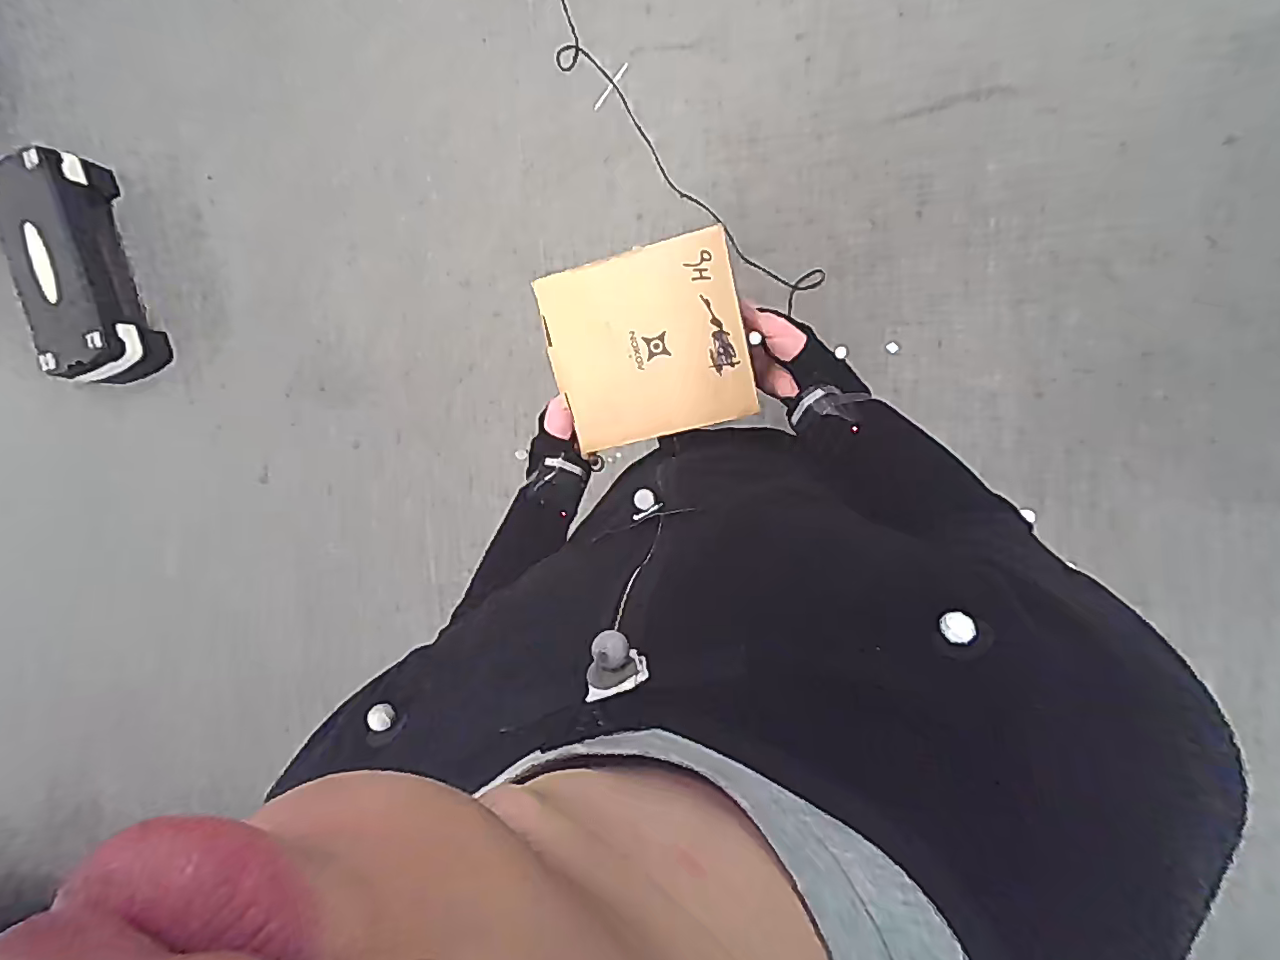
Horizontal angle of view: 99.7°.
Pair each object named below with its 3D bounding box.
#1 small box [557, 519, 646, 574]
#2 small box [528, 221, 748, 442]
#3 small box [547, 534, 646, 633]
[{"bbox_3d":[-0.101,0.237,1.543,0.168,0.176,0.179,40,102,3],"label":"small box"},{"bbox_3d":[0.011,-0.150,0.561,0.179,0.176,0.168,-10,107,12],"label":"small box"},{"bbox_3d":[-0.105,0.252,1.377,0.179,0.176,0.168,28,102,5],"label":"small box"}]
